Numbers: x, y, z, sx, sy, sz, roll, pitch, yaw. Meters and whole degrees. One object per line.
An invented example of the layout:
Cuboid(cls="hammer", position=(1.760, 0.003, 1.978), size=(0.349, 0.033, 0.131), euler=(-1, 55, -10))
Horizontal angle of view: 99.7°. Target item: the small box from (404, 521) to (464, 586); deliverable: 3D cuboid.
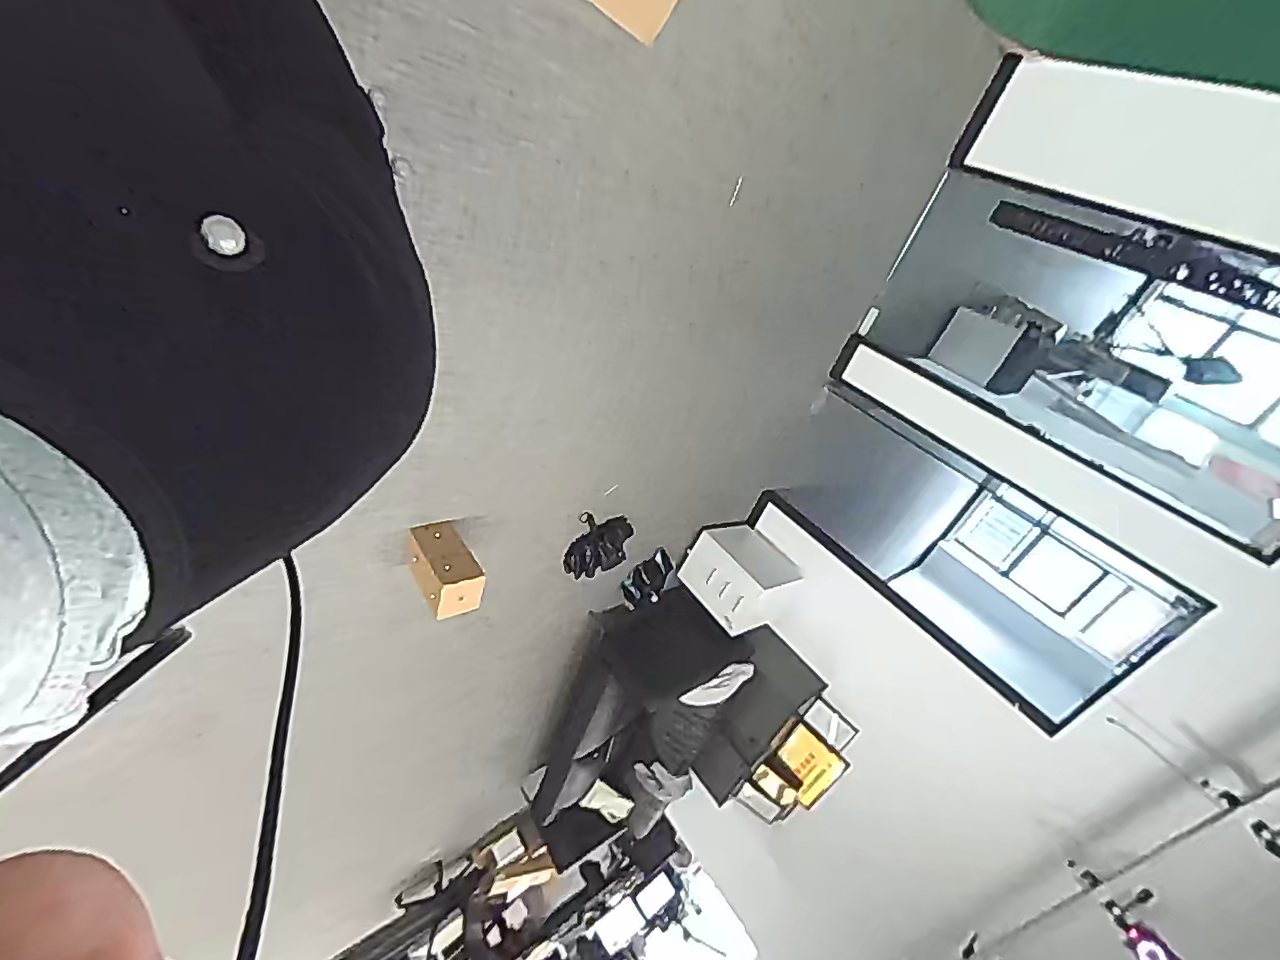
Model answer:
Cuboid(cls="small box", position=(-0.813, 0.278, 2.124), size=(0.168, 0.176, 0.179), euler=(-13, 134, -40))

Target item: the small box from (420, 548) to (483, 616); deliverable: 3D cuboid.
Cuboid(cls="small box", position=(-0.714, 0.373, 2.035), size=(0.168, 0.176, 0.179), euler=(-11, 135, -40))
